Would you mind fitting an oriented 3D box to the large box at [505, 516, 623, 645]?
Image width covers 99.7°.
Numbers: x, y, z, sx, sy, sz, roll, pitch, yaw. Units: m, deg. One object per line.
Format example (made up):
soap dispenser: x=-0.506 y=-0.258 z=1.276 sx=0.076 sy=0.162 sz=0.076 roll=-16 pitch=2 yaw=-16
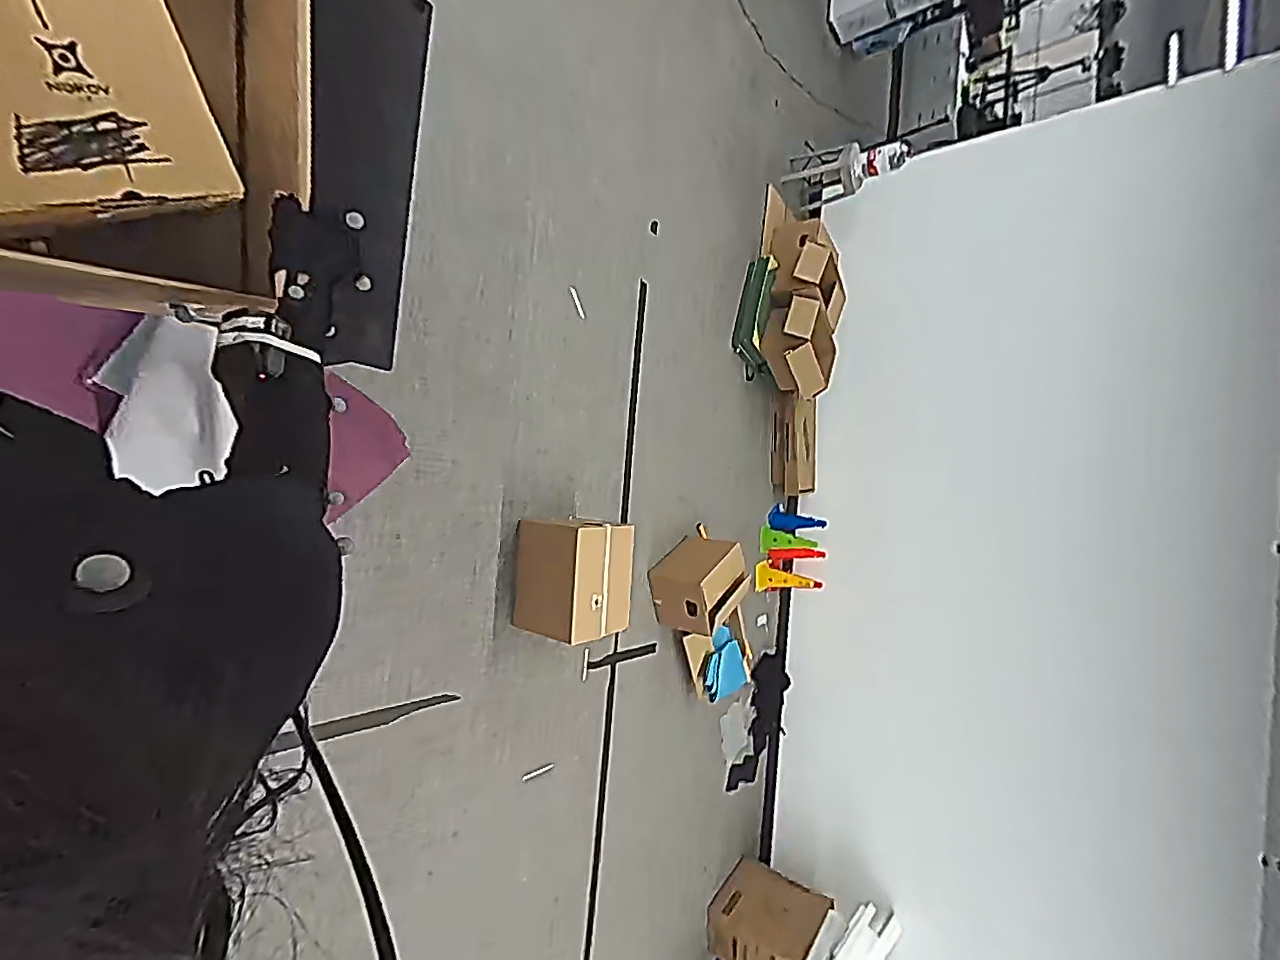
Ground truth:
large box: x=-0.284 y=0.355 z=2.025 sx=0.320 sy=0.320 sz=0.408 roll=3 pitch=91 yaw=-53
